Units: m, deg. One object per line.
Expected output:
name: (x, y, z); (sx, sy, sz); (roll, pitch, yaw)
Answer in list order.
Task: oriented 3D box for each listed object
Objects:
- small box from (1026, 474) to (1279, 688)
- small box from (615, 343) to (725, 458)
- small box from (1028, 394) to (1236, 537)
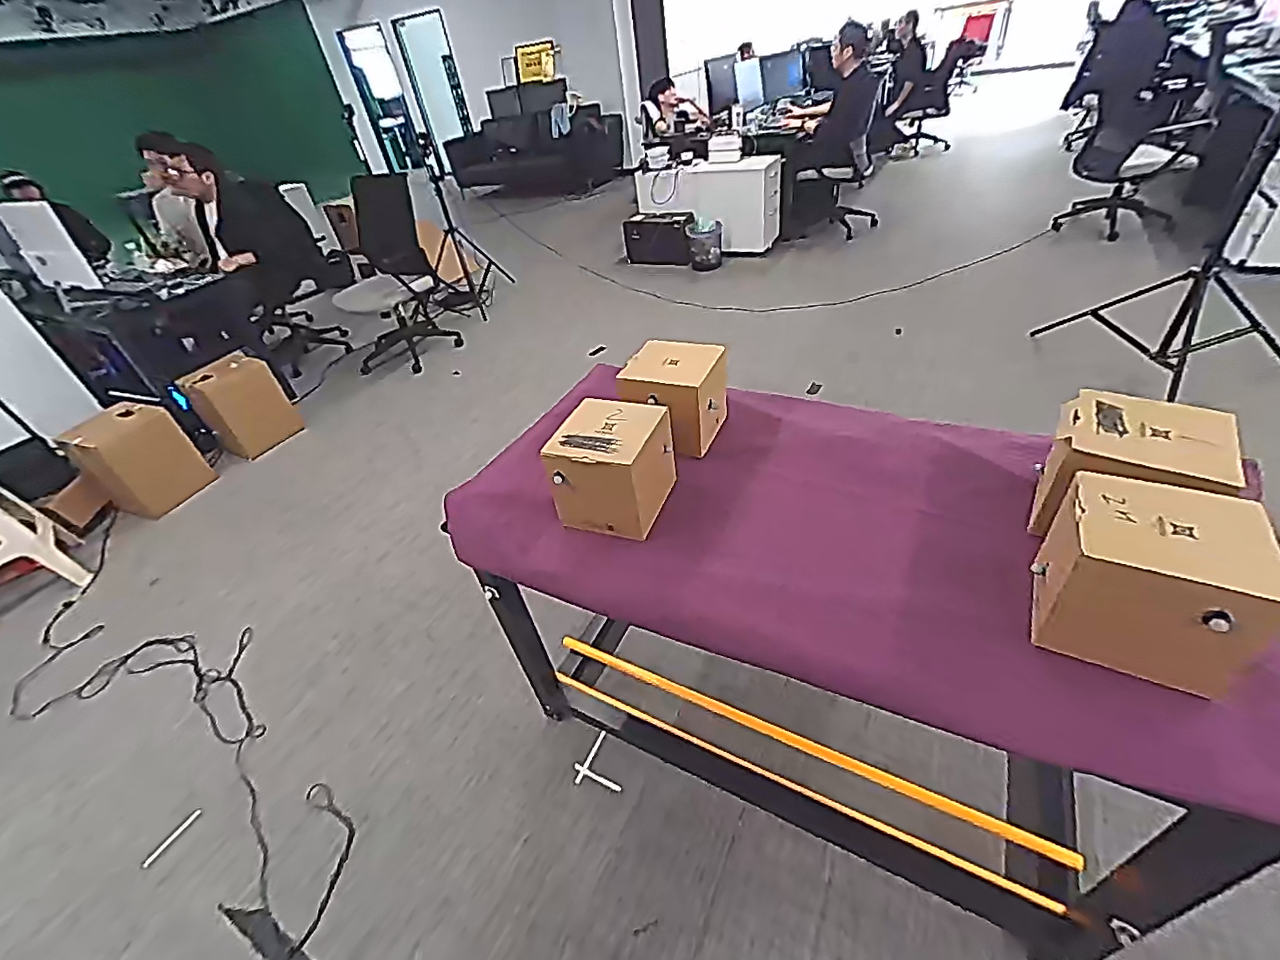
small box: (0.604, 0.122, 0.657); (0.179, 0.176, 0.168); (15, 43, 28)
small box: (0.072, -0.164, 1.121); (0.179, 0.176, 0.168); (11, 43, 23)
small box: (0.698, 0.001, 0.786); (0.179, 0.176, 0.168); (19, 49, 30)
